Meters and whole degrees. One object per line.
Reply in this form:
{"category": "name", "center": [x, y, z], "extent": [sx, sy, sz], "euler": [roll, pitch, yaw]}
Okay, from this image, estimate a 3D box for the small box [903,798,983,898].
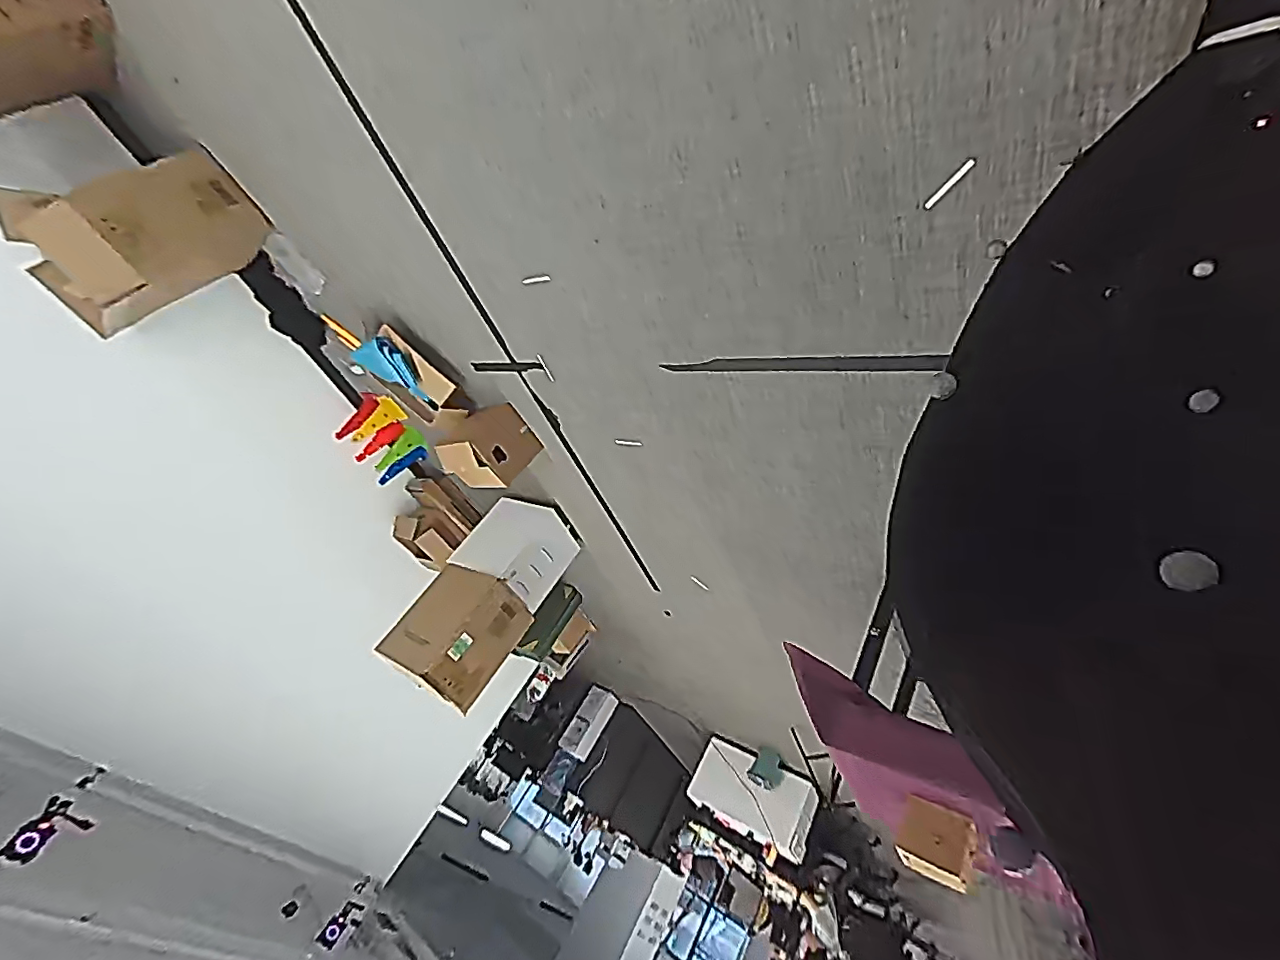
{"category": "small box", "center": [0.912, 1.094, 1.618], "extent": [0.179, 0.176, 0.168], "euler": [3, 136, 42]}
